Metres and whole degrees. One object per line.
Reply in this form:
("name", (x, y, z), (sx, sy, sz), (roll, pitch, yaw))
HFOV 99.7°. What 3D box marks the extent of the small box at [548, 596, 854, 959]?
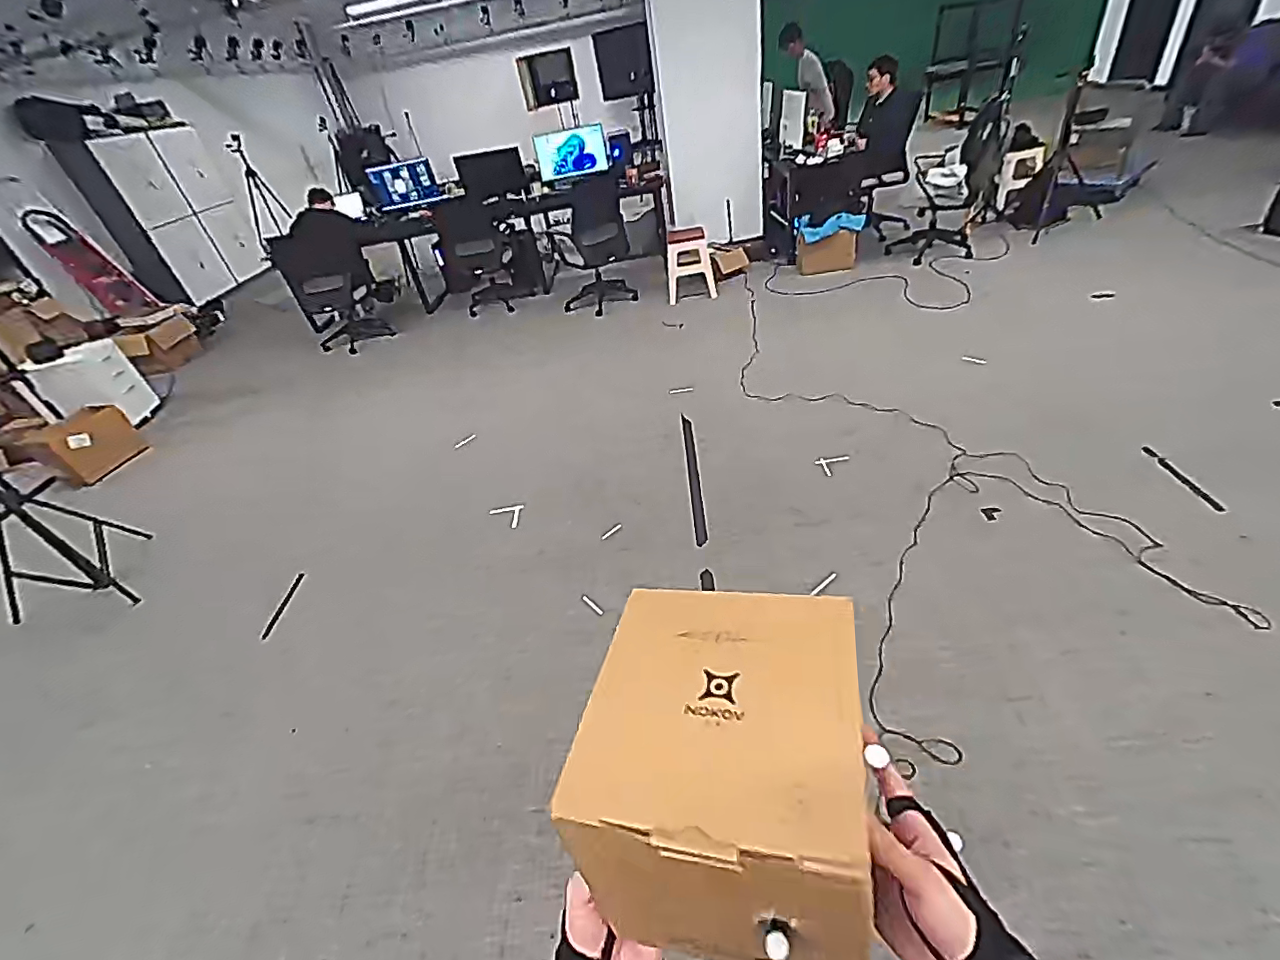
("small box", (0.062, 0.207, 0.388), (0.168, 0.176, 0.179), (-2, 31, 19))
